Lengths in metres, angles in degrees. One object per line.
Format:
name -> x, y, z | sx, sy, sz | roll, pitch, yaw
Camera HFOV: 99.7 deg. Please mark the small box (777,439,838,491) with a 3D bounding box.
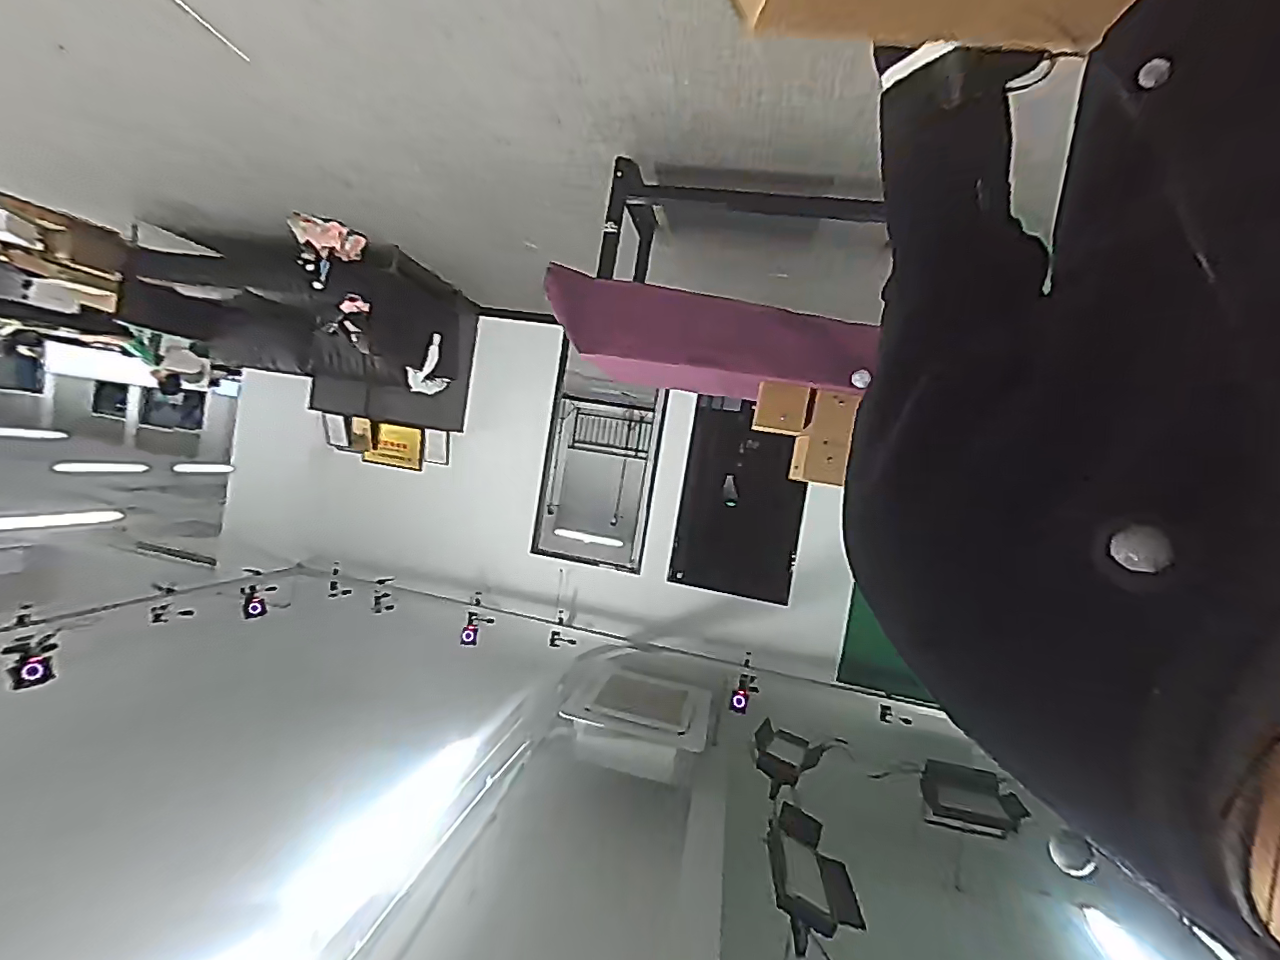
small box -> 0.625, -0.056, 2.016 | 0.168, 0.176, 0.179 | 11, -179, -1
